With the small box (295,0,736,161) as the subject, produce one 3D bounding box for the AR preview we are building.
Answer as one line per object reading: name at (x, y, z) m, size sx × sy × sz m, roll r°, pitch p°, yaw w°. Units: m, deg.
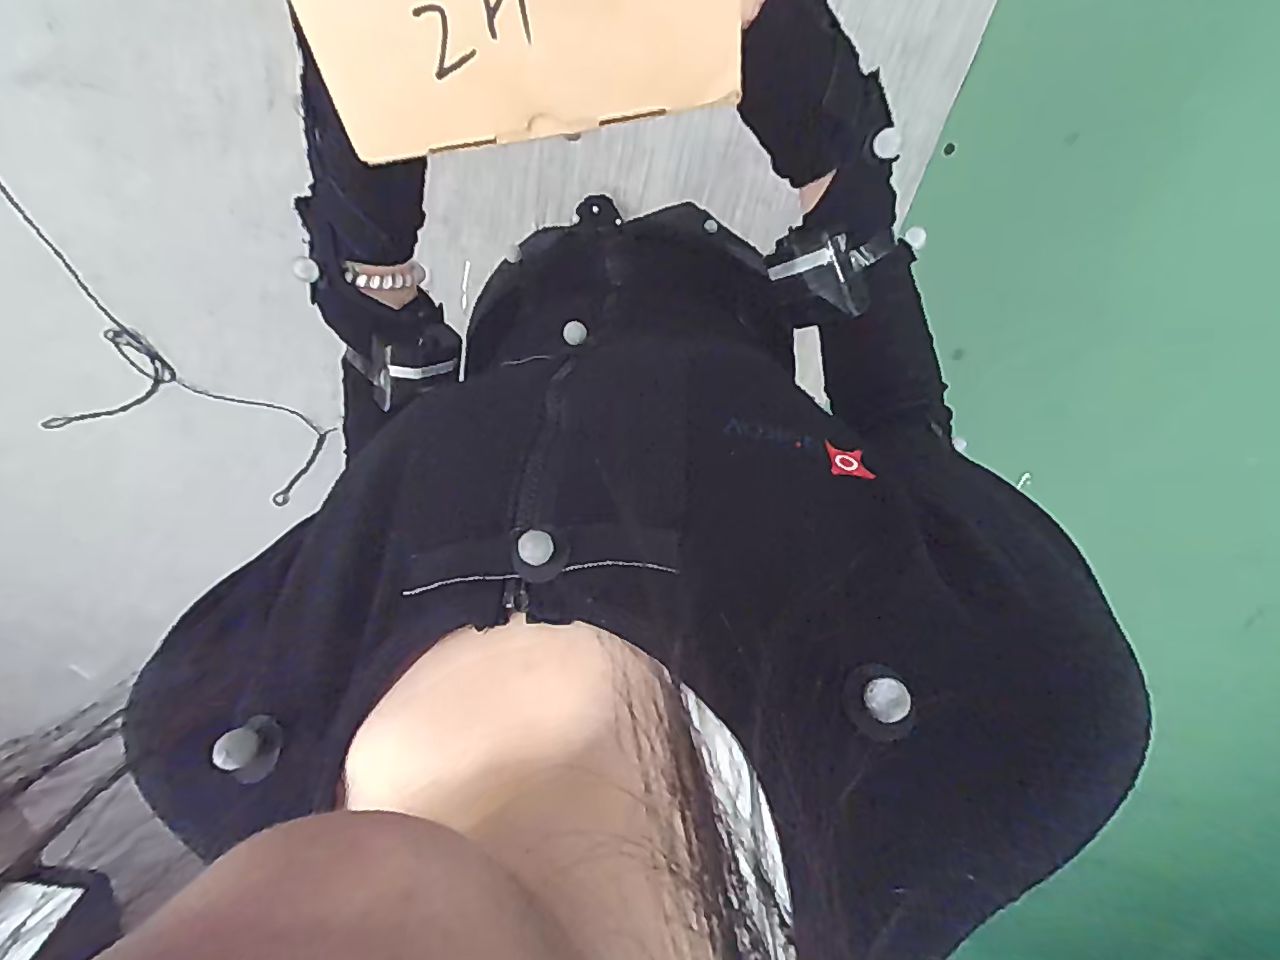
small box at (-0.053, -0.264, 0.236) m, size 0.168 × 0.176 × 0.179 m, roll -7°, pitch 131°, yaw 5°
